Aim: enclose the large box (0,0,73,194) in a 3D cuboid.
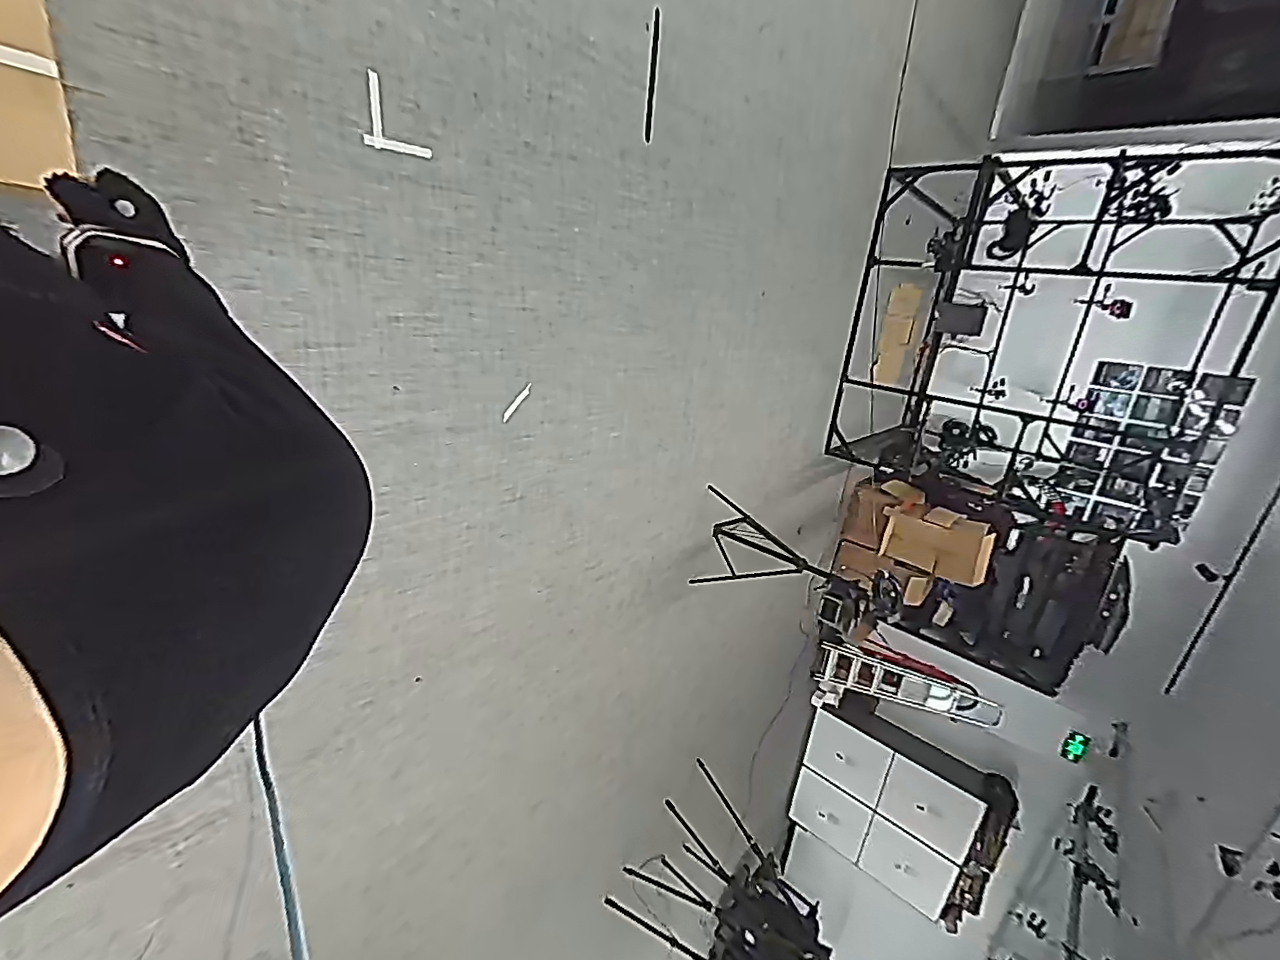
[{"bbox_3d":[-1.062,-0.580,0.689,0.408,0.320,0.320,-15,118,-49],"label":"large box"}]
